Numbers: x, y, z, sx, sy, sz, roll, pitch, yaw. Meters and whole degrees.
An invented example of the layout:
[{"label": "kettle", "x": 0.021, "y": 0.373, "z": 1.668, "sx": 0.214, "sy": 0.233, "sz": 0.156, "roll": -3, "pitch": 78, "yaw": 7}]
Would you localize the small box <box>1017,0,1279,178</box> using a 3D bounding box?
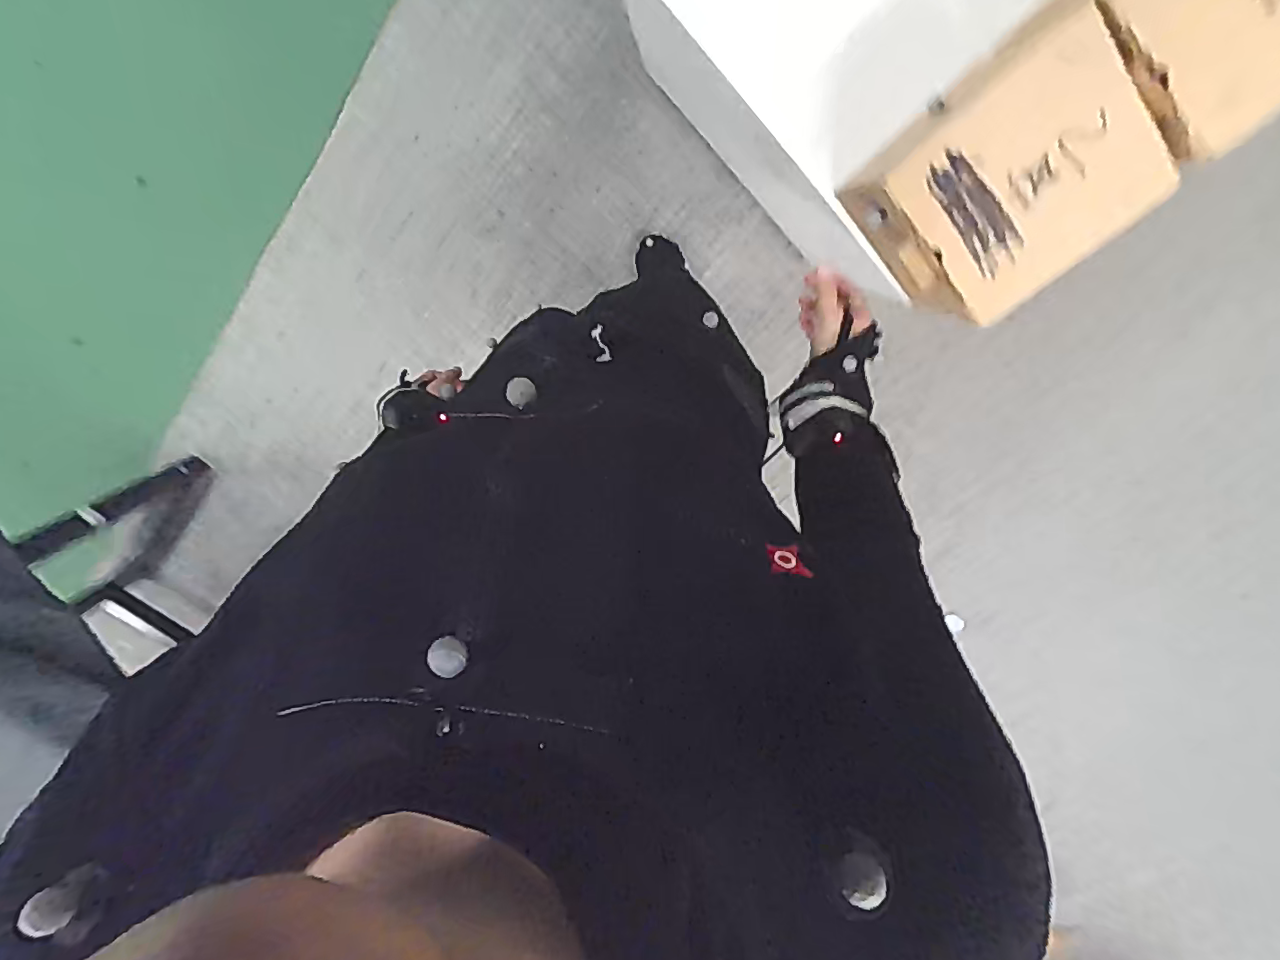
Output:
[{"label": "small box", "x": 0.465, "y": -0.386, "z": 0.455, "sx": 0.168, "sy": 0.176, "sz": 0.179, "roll": 42, "pitch": 111, "yaw": -15}]
